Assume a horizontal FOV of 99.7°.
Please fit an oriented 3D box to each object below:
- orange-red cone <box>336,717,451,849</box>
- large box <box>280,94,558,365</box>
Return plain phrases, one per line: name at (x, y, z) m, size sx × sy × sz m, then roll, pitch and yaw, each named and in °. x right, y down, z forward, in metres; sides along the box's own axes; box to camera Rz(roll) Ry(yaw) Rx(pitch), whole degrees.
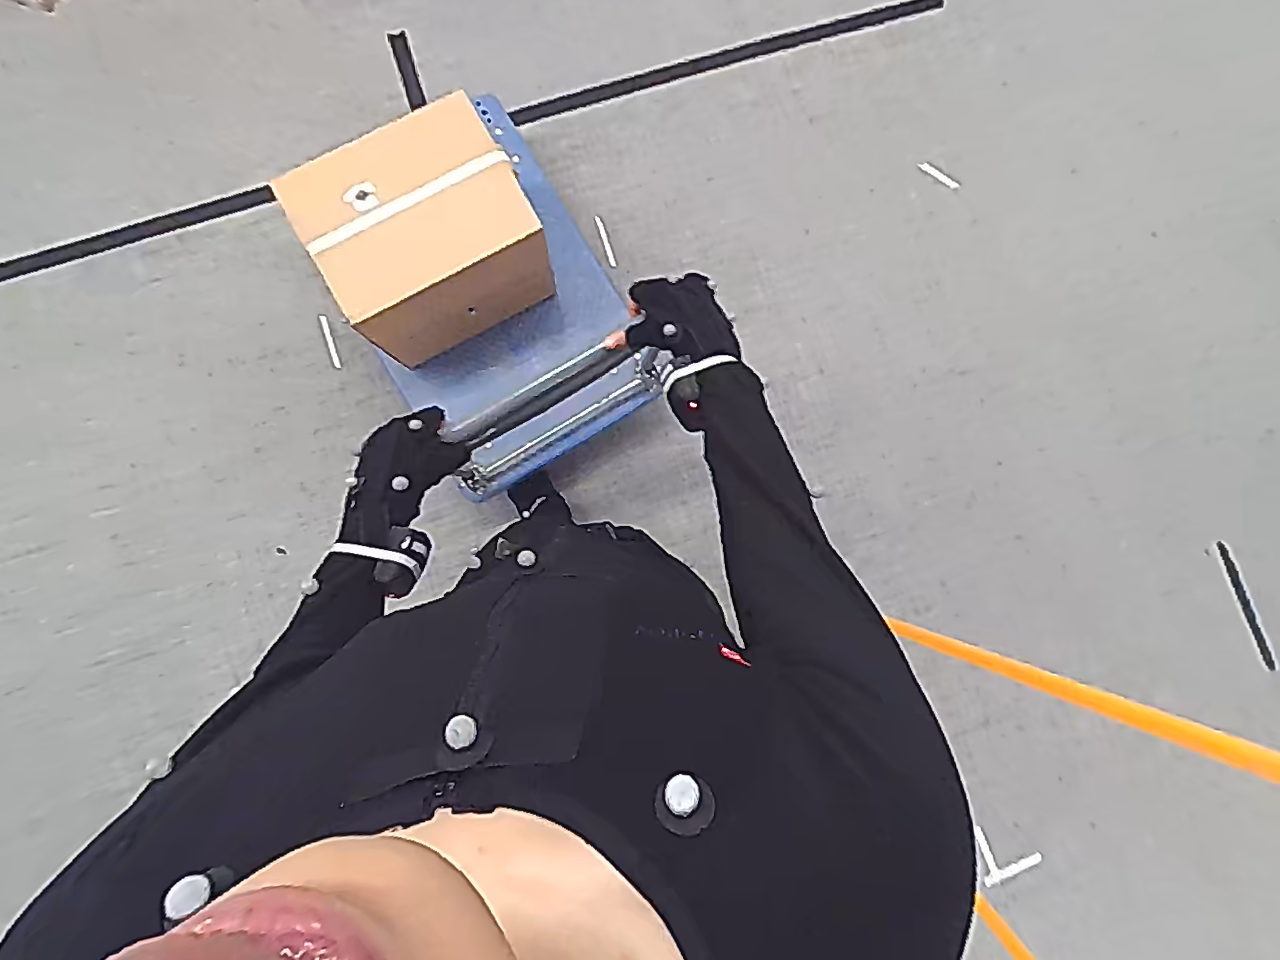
orange-red cone at (-0.586, 0.713, 1.226) m, size 0.198 × 0.360 × 0.199 m, roll -11°, pitch 86°, yaw -5°
large box at (-0.435, -0.506, 1.167) m, size 0.408 × 0.320 × 0.320 m, roll -30°, pitch 89°, yaw -4°
